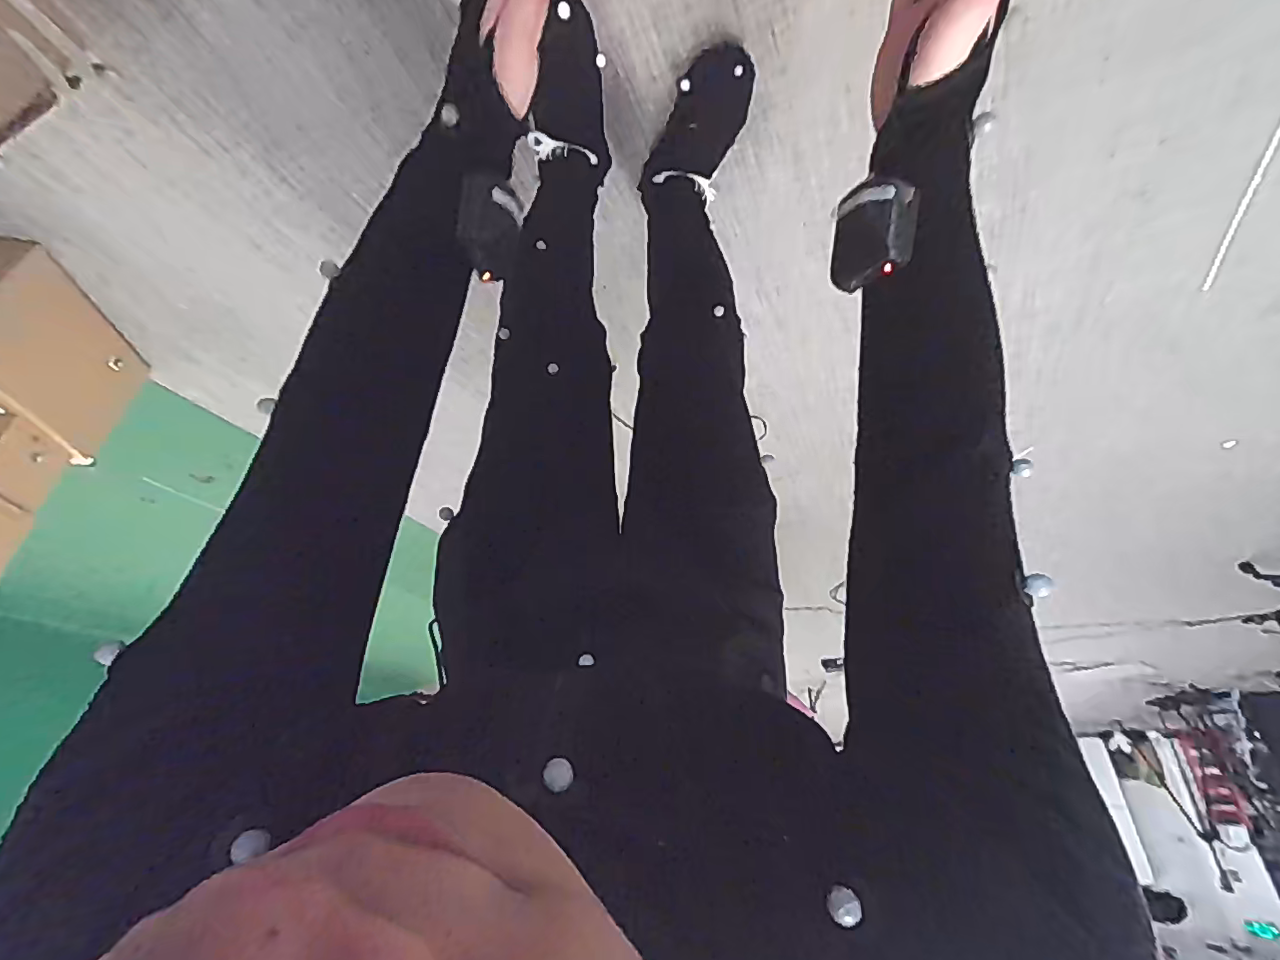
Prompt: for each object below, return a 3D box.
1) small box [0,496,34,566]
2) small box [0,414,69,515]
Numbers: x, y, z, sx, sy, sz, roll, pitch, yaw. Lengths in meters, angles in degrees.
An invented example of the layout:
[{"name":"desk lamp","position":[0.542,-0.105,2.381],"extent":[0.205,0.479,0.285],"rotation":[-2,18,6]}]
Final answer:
[{"name":"small box","position":[-1.406,0.106,1.078],"extent":[0.179,0.176,0.168],"rotation":[5,149,-8]},{"name":"small box","position":[-1.417,-0.036,1.161],"extent":[0.179,0.176,0.168],"rotation":[4,149,-9]}]
